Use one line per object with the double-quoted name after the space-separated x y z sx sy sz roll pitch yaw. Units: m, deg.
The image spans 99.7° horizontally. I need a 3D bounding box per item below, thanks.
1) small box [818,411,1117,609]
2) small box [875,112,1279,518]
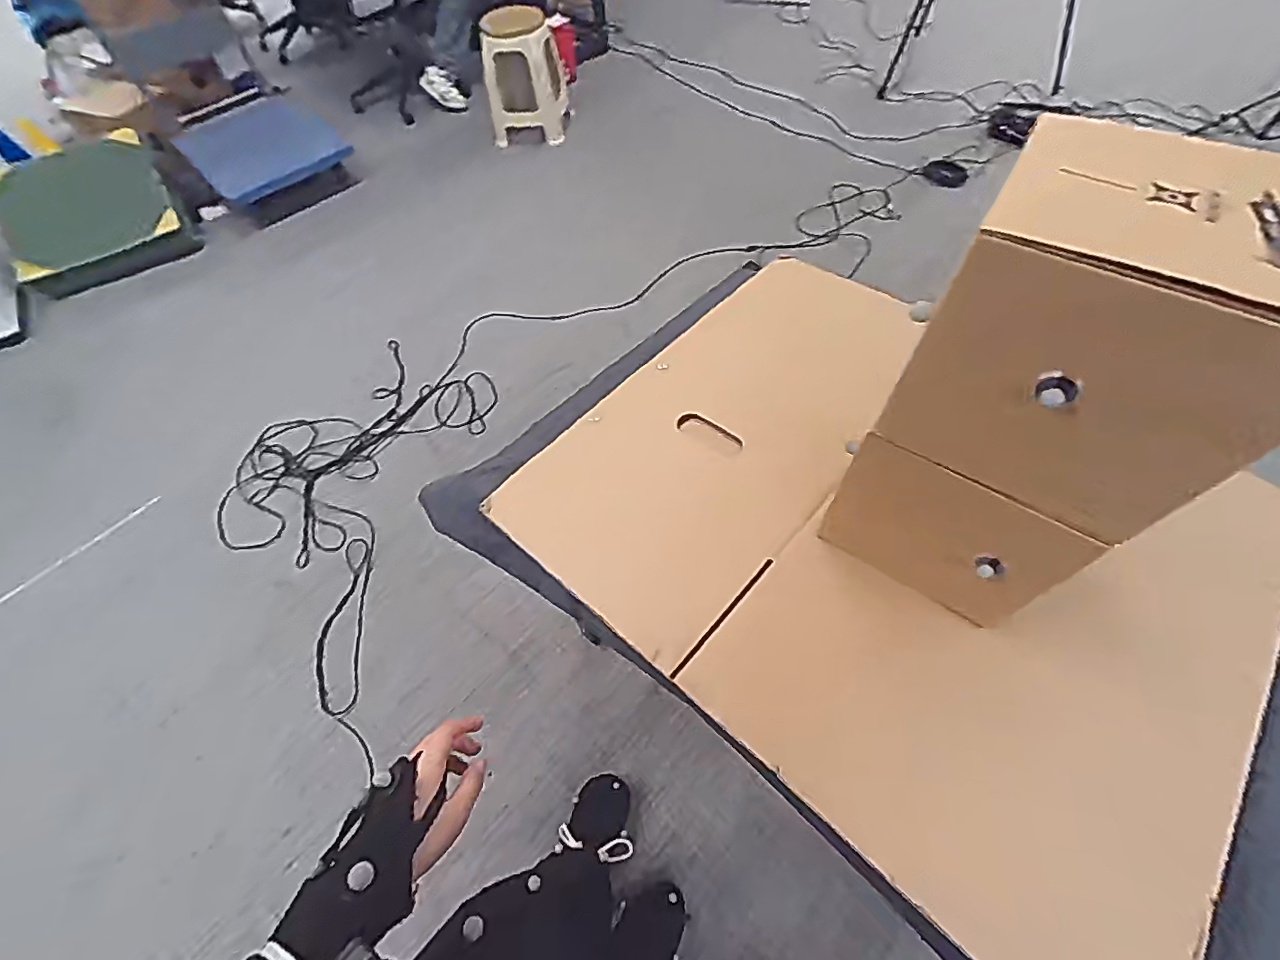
0.291 -0.006 0.492 0.179 0.176 0.168 30 61 20 "small box"
0.290 -0.099 0.356 0.179 0.176 0.168 29 61 20 "small box"
